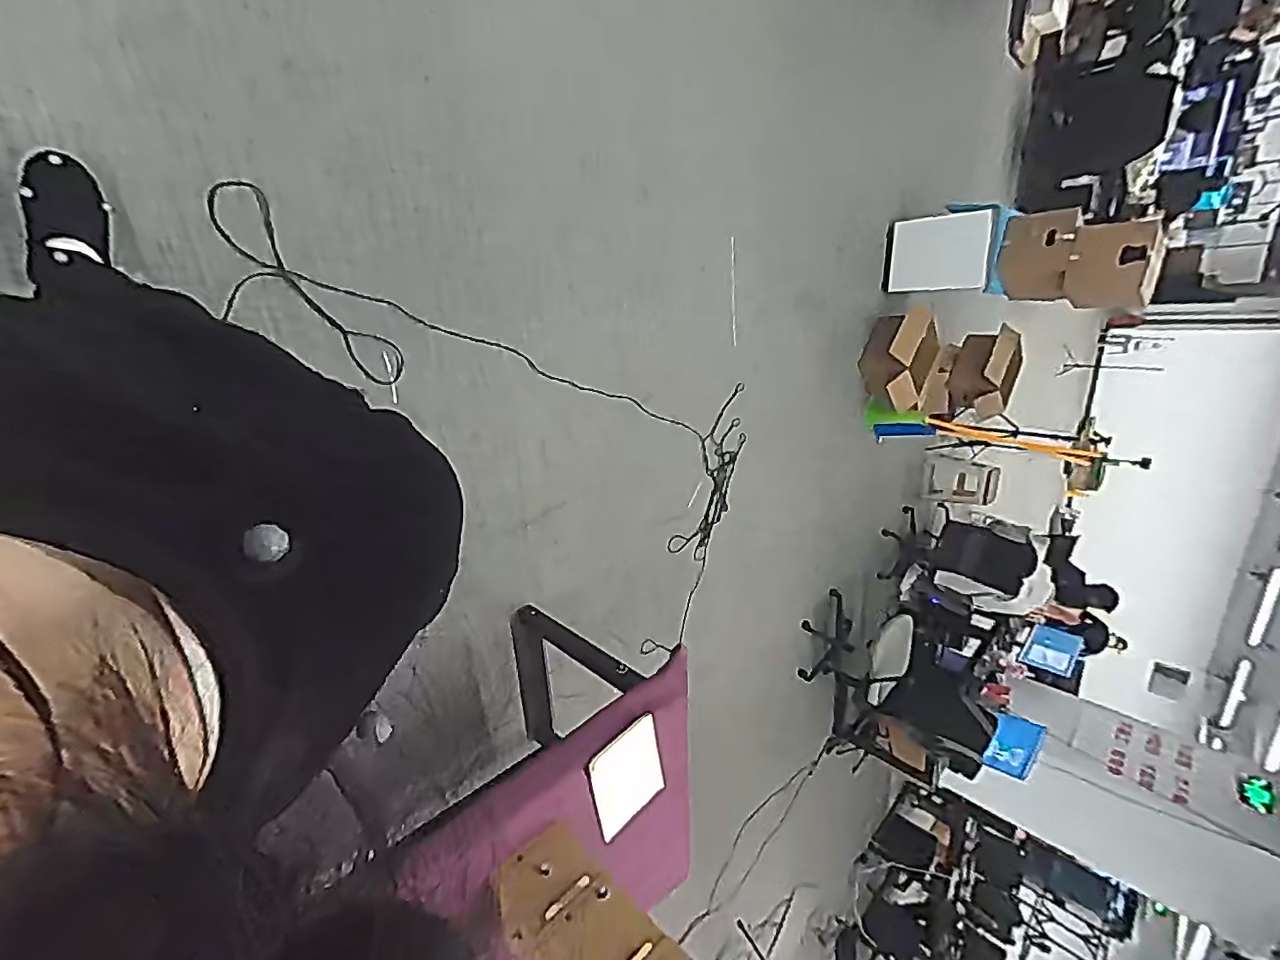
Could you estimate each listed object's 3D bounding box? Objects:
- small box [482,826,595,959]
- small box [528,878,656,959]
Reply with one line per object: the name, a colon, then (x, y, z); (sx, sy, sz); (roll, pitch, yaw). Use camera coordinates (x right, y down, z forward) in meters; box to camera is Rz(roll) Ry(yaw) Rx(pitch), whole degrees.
small box: (-0.201, 0.844, 1.089); (0.168, 0.176, 0.179); (-18, 113, -41)
small box: (-0.087, 0.870, 0.973); (0.168, 0.176, 0.179); (-18, 115, -41)
